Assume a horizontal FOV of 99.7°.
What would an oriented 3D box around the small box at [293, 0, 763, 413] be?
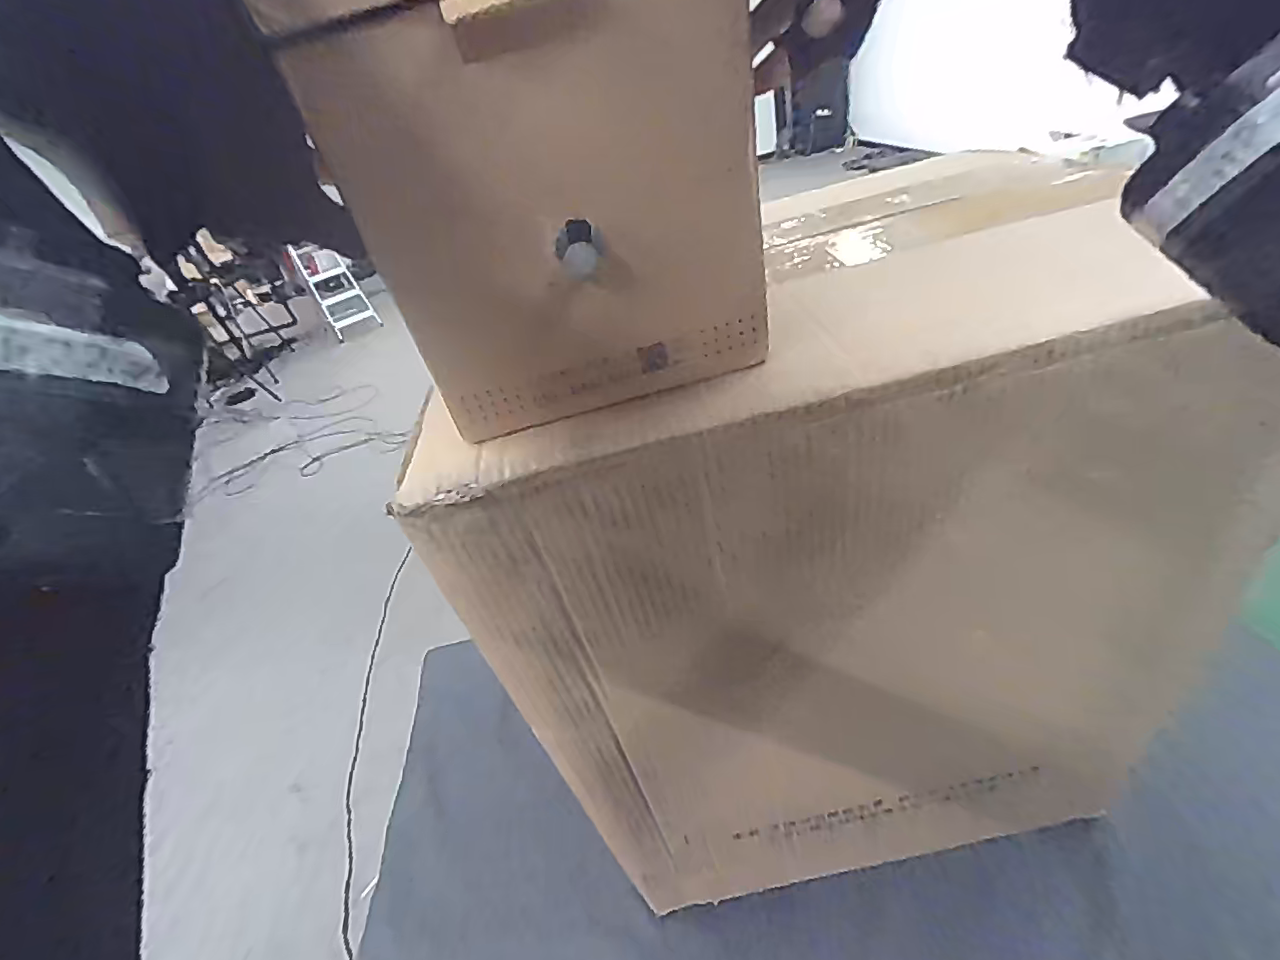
[{"bbox_3d":[-0.038,-0.152,0.297,0.168,0.176,0.179,-15,39,-1],"label":"small box"}]
